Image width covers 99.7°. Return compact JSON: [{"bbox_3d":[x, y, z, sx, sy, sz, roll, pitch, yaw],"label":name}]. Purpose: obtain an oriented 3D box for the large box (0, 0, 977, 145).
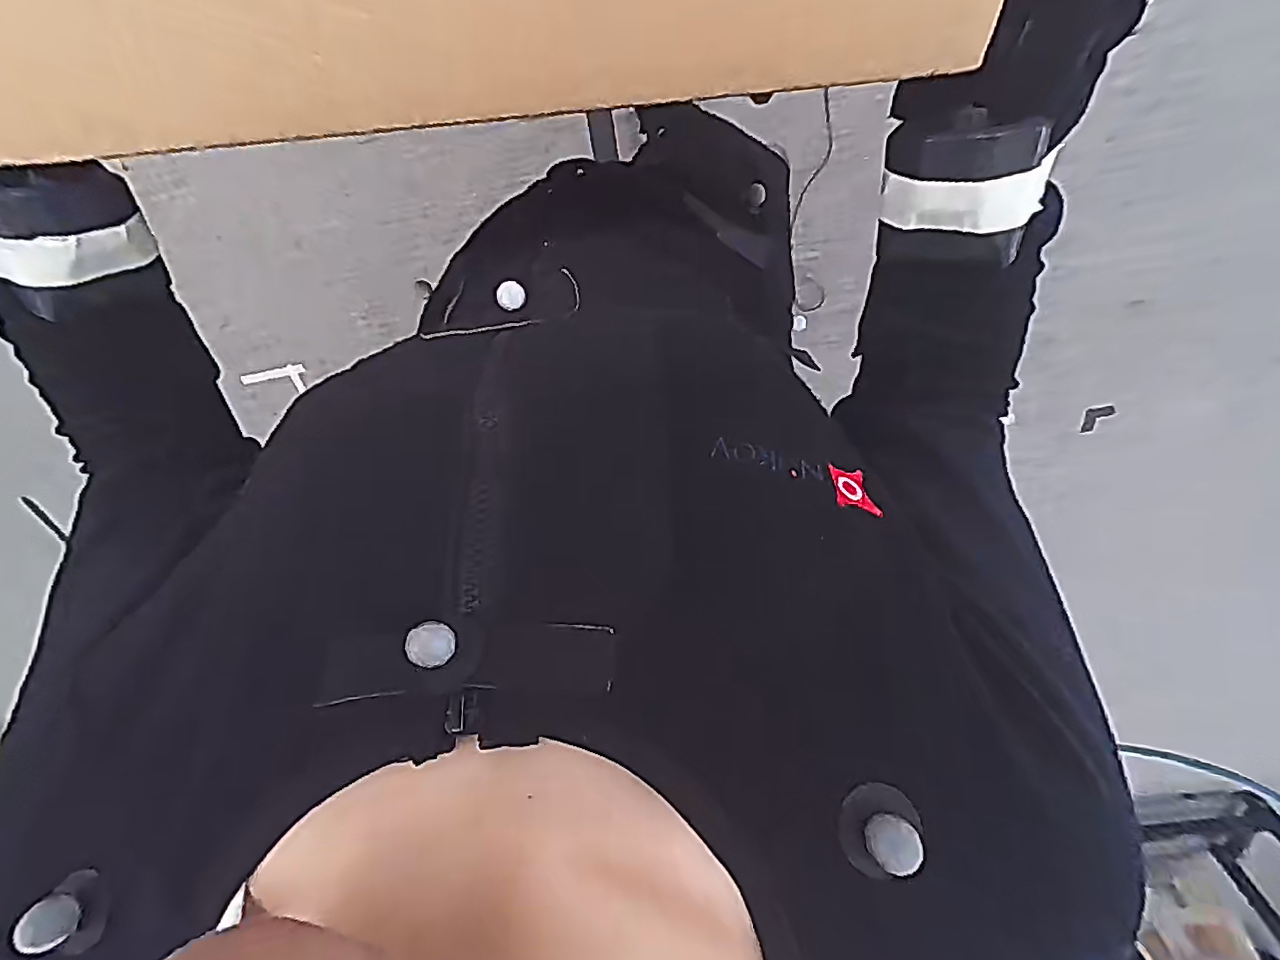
[{"bbox_3d":[-0.084,-0.369,0.203,0.408,0.320,0.320,-4,137,3],"label":"large box"}]
